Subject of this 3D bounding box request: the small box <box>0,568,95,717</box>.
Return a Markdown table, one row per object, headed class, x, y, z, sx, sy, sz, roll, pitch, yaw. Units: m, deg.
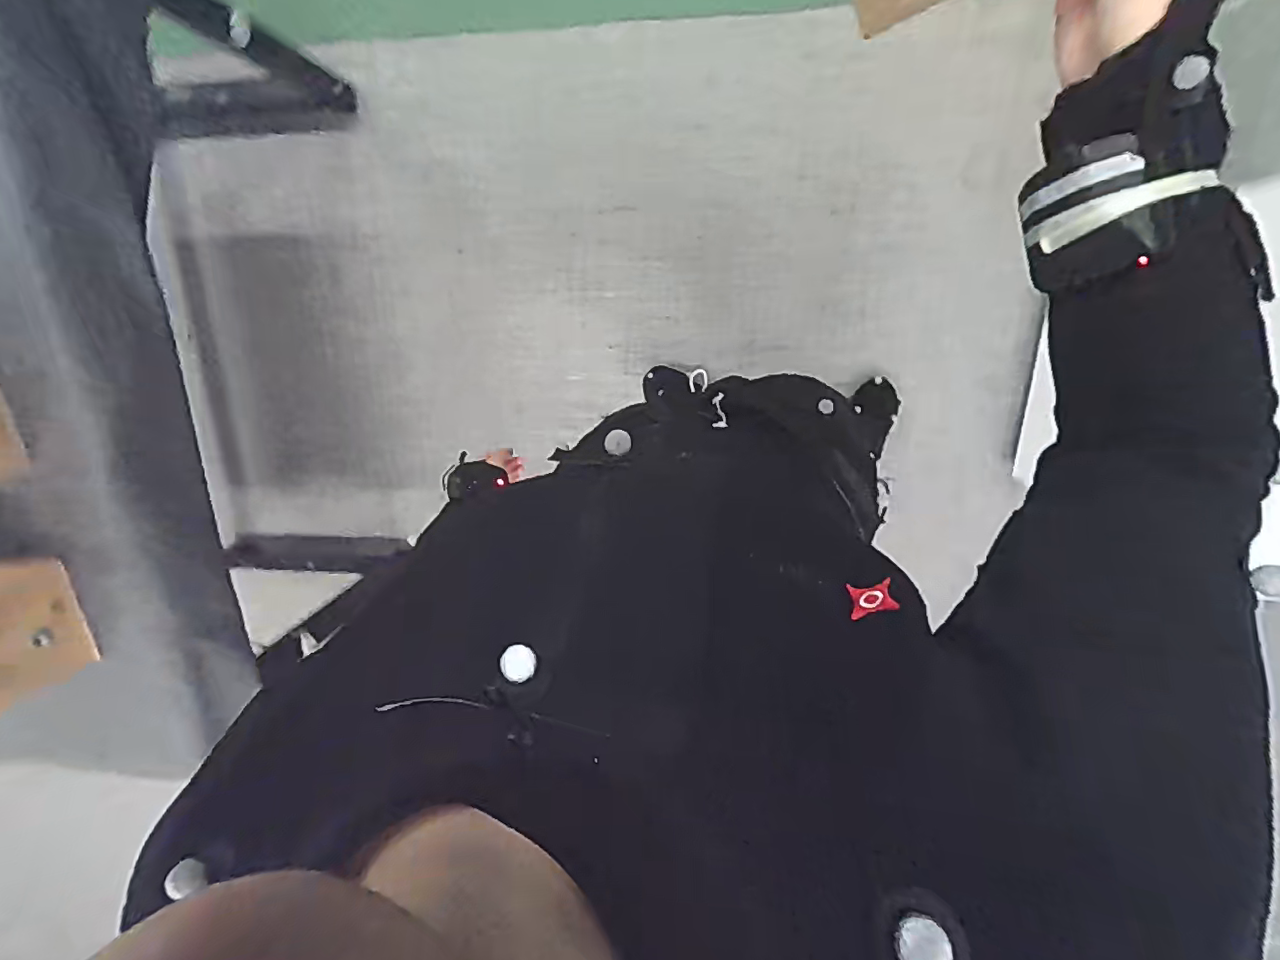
| class | x | y | z | sx | sy | sz | roll | pitch | yaw |
| --- | --- | --- | --- | --- | --- | --- | --- | --- | --- |
| small box | -0.887 | 0.224 | 0.700 | 0.179 | 0.176 | 0.168 | -4 | 104 | 8 |
